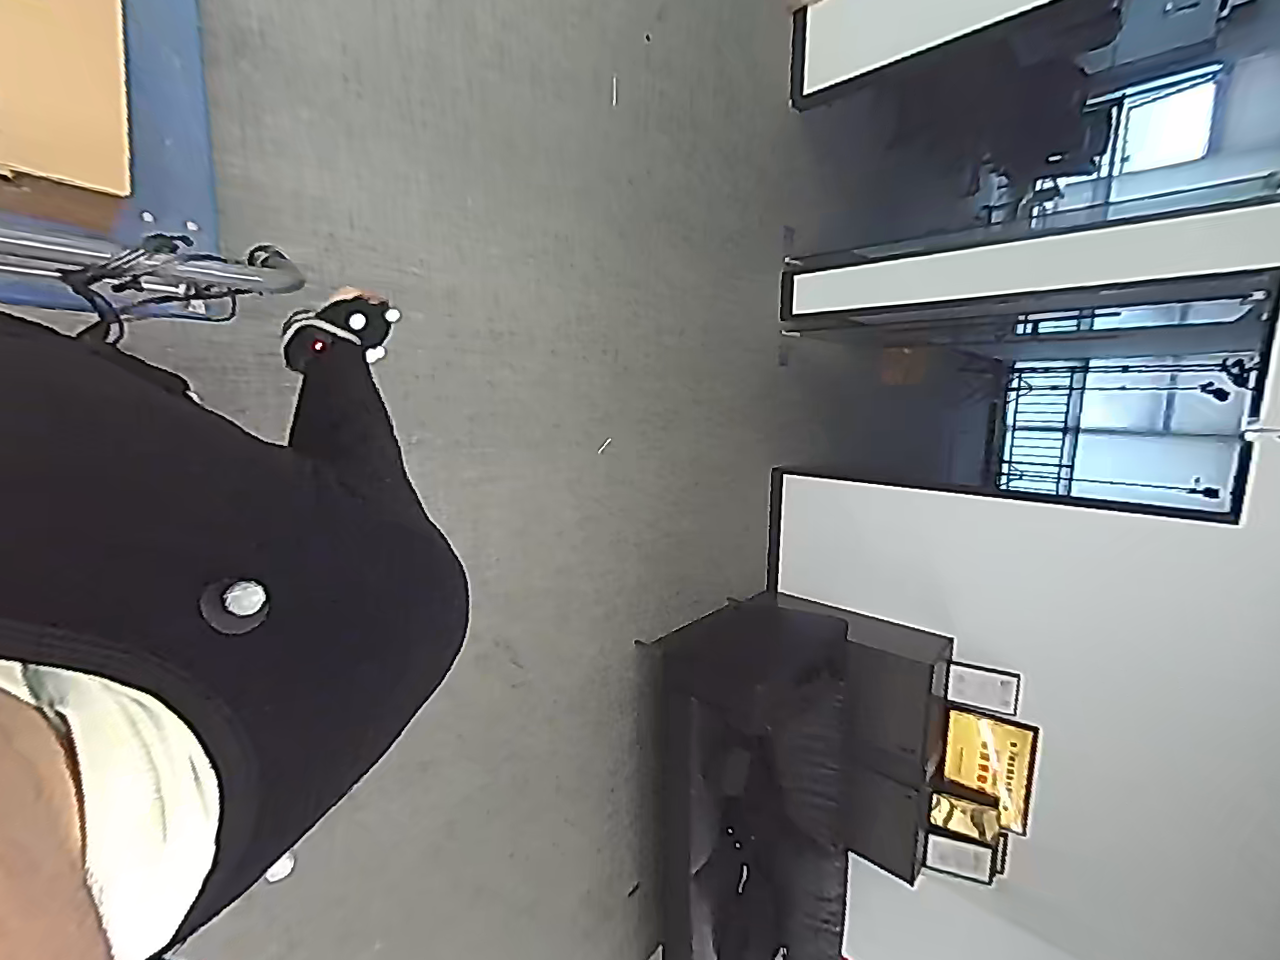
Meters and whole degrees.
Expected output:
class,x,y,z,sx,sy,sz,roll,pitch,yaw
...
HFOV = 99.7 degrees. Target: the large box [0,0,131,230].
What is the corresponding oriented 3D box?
class,x,y,z,sx,sy,sz,roll,pitch,yaw
large box,-1.006,-0.649,0.812,0.320,0.320,0.408,-5,100,-48
